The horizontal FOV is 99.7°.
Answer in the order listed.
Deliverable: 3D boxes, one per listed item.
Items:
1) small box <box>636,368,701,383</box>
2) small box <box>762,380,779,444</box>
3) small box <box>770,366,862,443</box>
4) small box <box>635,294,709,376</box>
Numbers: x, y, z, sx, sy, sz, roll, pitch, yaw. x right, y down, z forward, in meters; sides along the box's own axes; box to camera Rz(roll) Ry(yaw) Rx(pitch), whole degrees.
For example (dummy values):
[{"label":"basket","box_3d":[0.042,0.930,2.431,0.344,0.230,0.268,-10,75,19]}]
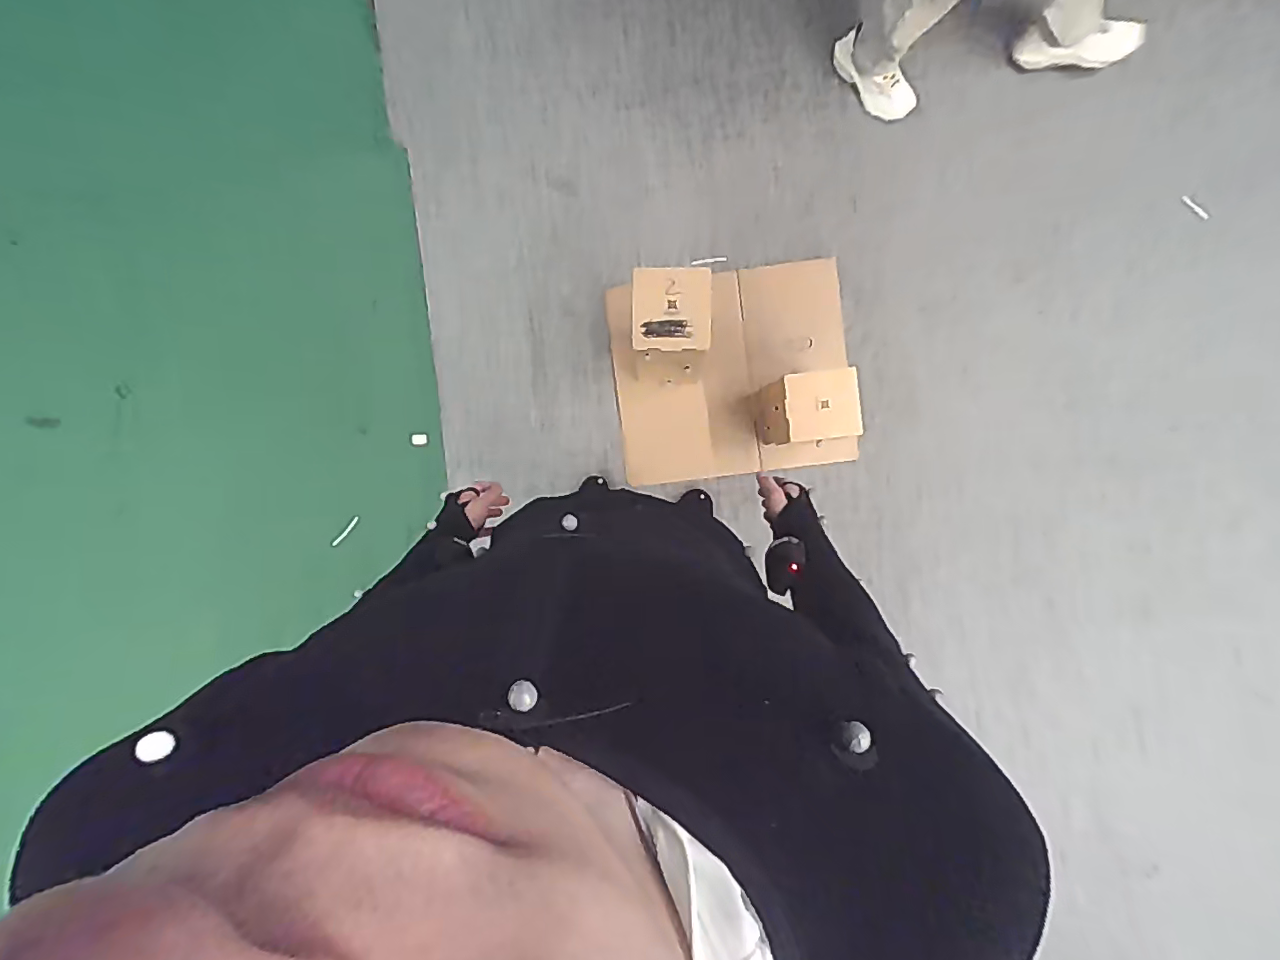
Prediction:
[{"label":"small box","box_3d":[0.081,-0.372,1.541,0.179,0.176,0.168,1,91,2]},{"label":"small box","box_3d":[0.445,-0.195,1.531,0.179,0.176,0.168,-6,91,3]},{"label":"small box","box_3d":[0.439,-0.185,1.369,0.179,0.176,0.168,-7,91,4]},{"label":"small box","box_3d":[0.078,-0.363,1.376,0.179,0.176,0.168,1,90,2]}]
